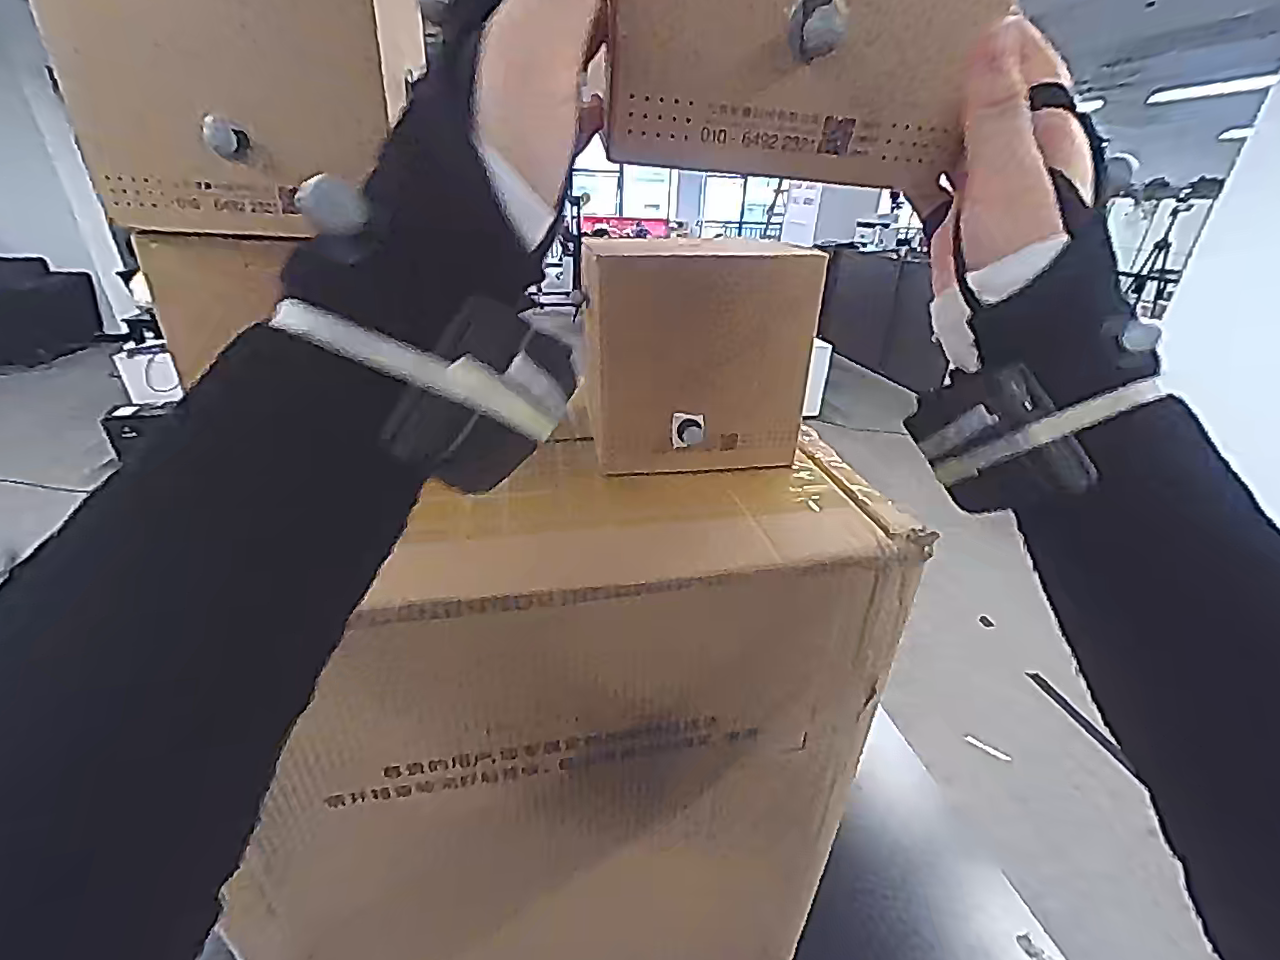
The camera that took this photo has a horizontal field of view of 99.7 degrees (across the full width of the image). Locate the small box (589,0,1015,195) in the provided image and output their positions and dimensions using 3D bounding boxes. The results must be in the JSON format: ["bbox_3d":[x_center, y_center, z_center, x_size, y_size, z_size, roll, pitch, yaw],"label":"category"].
[{"bbox_3d":[0.063,-0.257,0.258,0.168,0.176,0.179,0,43,-9],"label":"small box"}]

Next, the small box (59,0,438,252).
[{"bbox_3d":[-0.242,-0.260,0.374,0.168,0.176,0.179,-2,28,-11],"label":"small box"}]

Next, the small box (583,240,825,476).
[{"bbox_3d":[0.038,-0.117,0.481,0.168,0.176,0.179,-5,29,-8],"label":"small box"}]

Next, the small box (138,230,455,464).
[{"bbox_3d":[-0.257,-0.120,0.463,0.168,0.176,0.179,-3,28,-12],"label":"small box"}]
